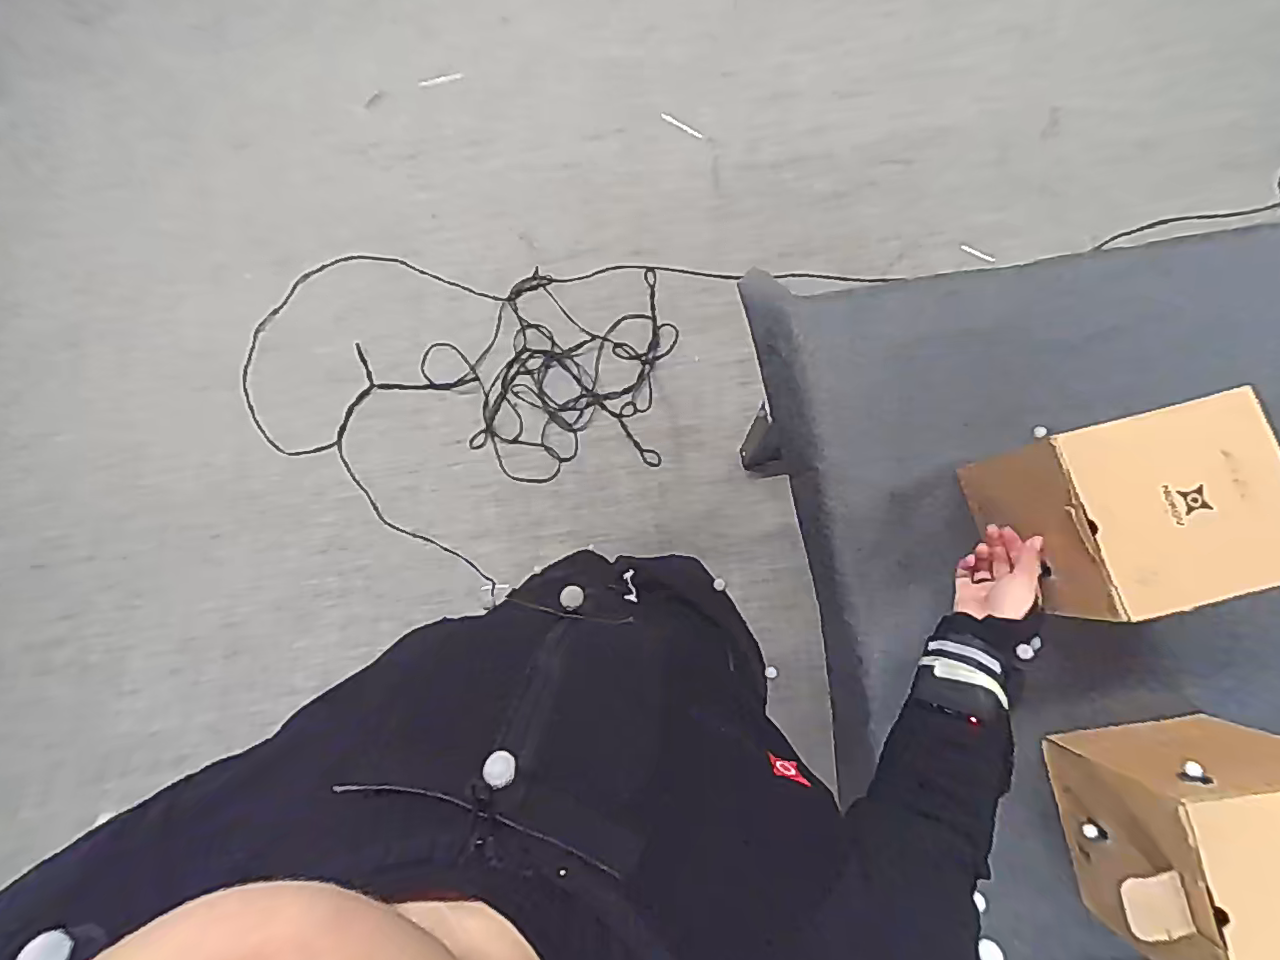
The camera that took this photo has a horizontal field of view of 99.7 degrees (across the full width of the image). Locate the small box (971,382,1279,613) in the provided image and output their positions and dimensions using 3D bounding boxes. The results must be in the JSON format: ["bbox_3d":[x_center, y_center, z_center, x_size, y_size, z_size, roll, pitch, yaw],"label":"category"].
[{"bbox_3d":[0.466,0.025,0.535,0.179,0.176,0.168,-15,82,0],"label":"small box"}]

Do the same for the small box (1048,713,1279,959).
[{"bbox_3d":[0.524,0.324,0.484,0.179,0.176,0.168,-10,81,3],"label":"small box"}]
